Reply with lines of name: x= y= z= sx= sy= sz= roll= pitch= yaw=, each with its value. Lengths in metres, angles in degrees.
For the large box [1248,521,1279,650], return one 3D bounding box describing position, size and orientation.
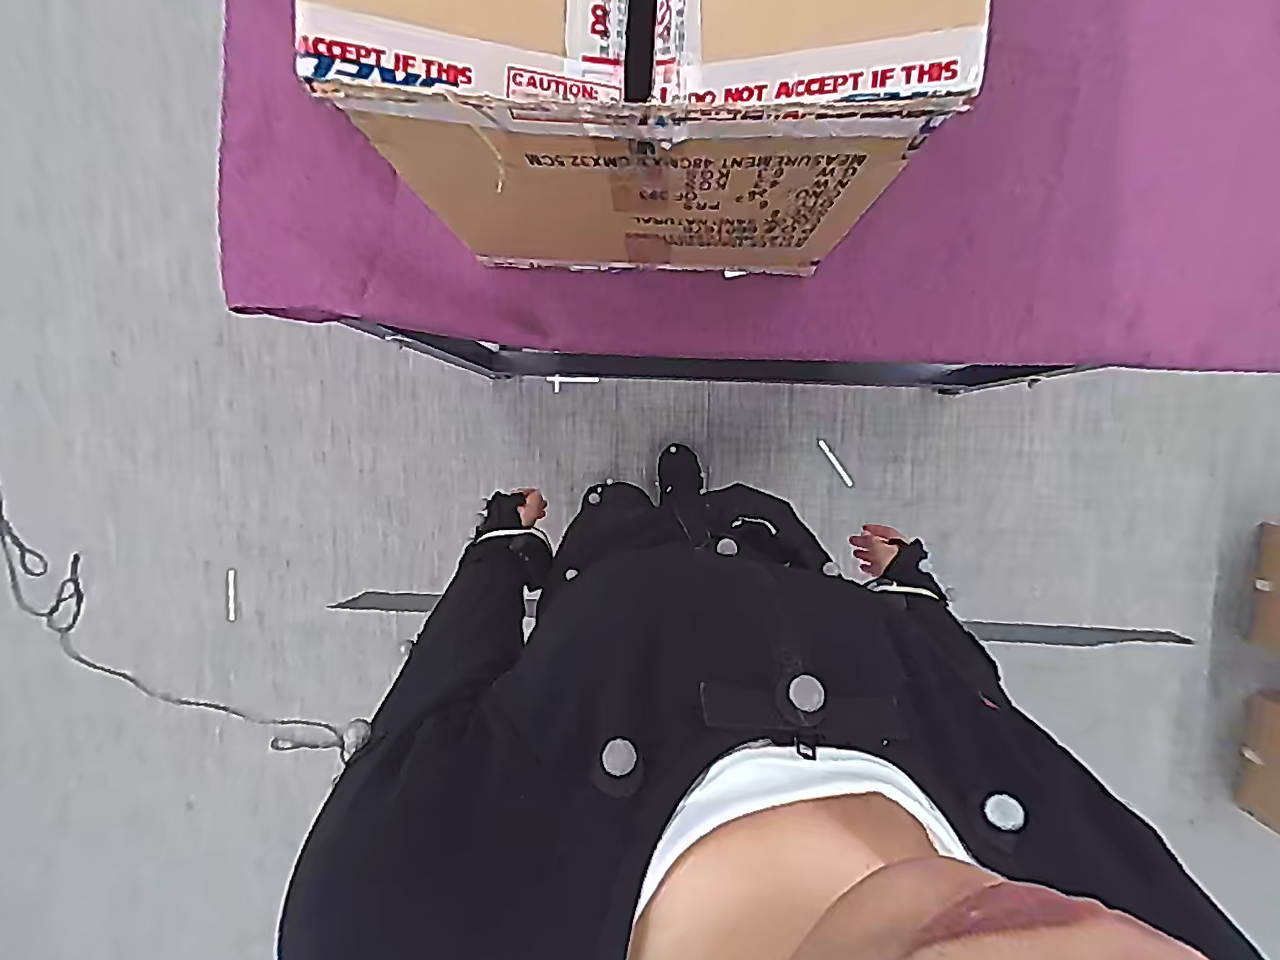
large box: x=1.712 y=0.263 z=1.183 sx=0.408 sy=0.320 sz=0.320 roll=1 pitch=94 yaw=3
